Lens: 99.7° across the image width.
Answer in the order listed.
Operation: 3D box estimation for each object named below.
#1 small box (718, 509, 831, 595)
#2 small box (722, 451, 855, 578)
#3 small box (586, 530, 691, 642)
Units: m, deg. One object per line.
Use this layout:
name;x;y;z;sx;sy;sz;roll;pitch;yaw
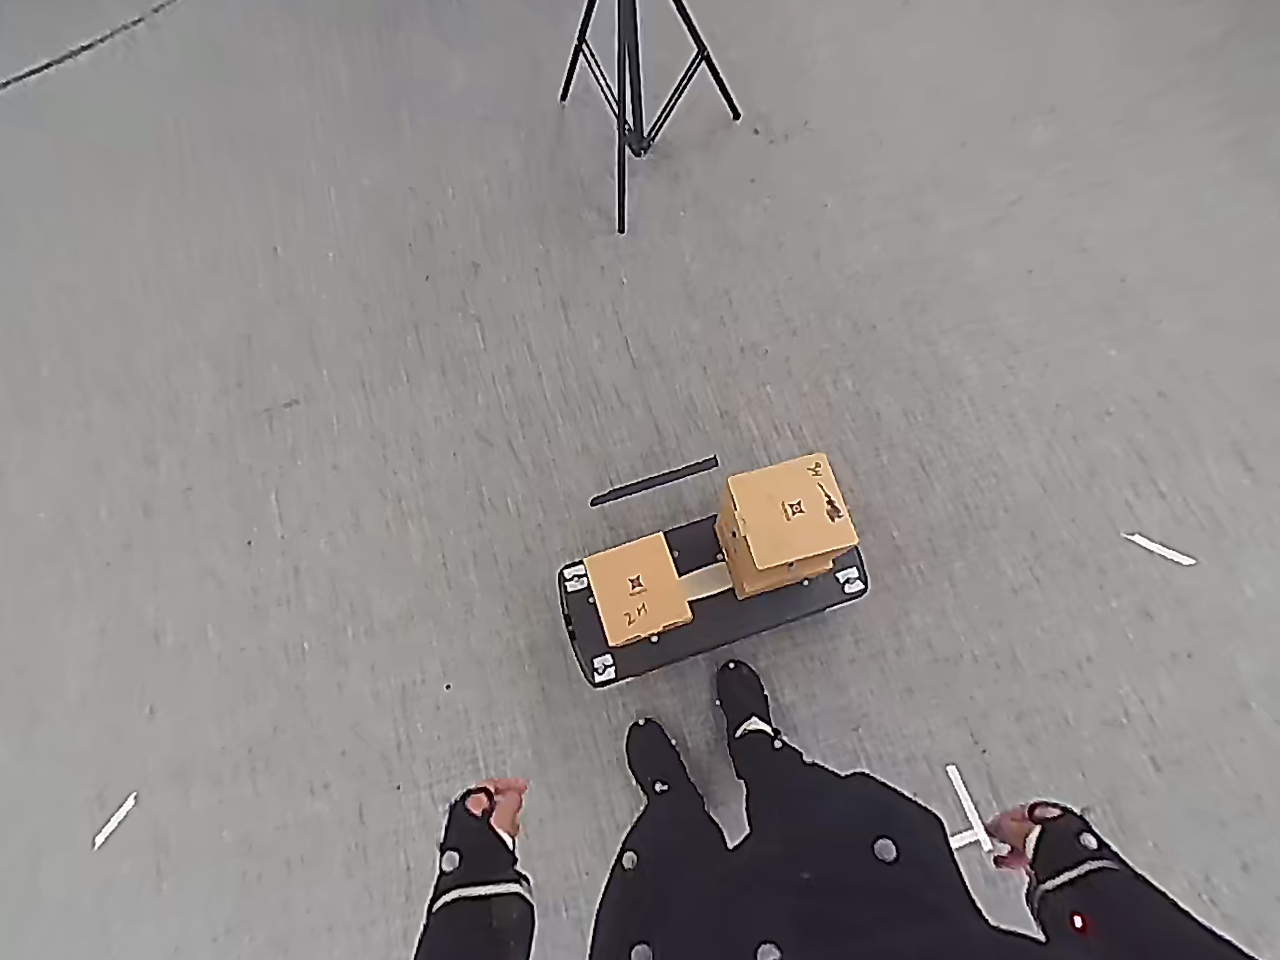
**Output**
small box;0.263;0.132;1.114;0.179;0.176;0.168;-16;73;-1
small box;0.250;0.069;0.963;0.179;0.176;0.168;-15;73;0
small box;-0.003;0.222;1.101;0.168;0.176;0.179;-19;73;-2
